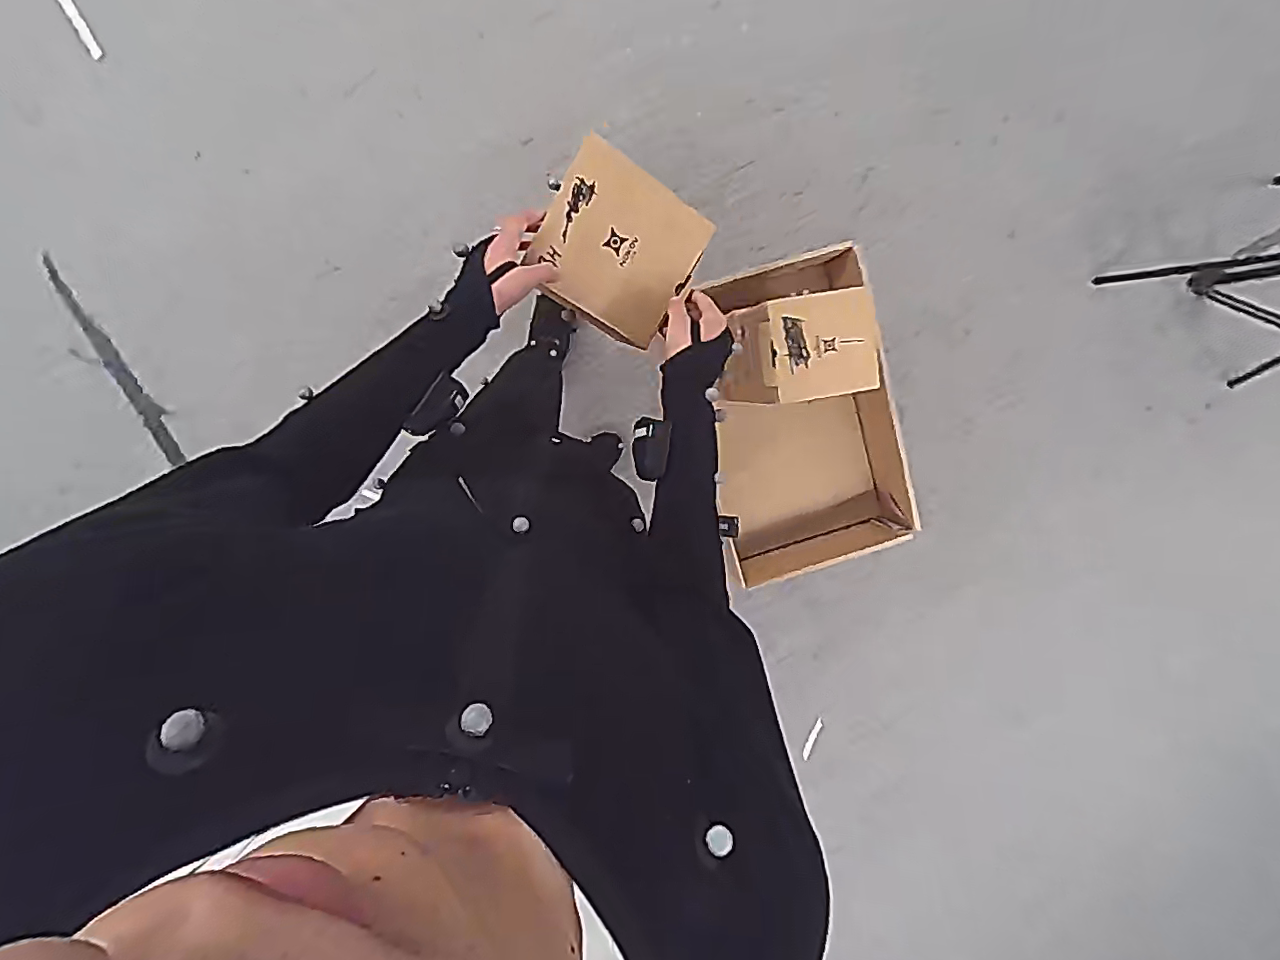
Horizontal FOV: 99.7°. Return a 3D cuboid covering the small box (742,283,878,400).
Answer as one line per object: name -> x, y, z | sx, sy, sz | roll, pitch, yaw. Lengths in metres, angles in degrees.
small box -> 0.283, -0.231, 0.937 | 0.179, 0.176, 0.168 | -10, 100, -4

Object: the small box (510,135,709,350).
small box -> -0.049, -0.289, 0.687 | 0.179, 0.176, 0.168 | 28, 99, -22
